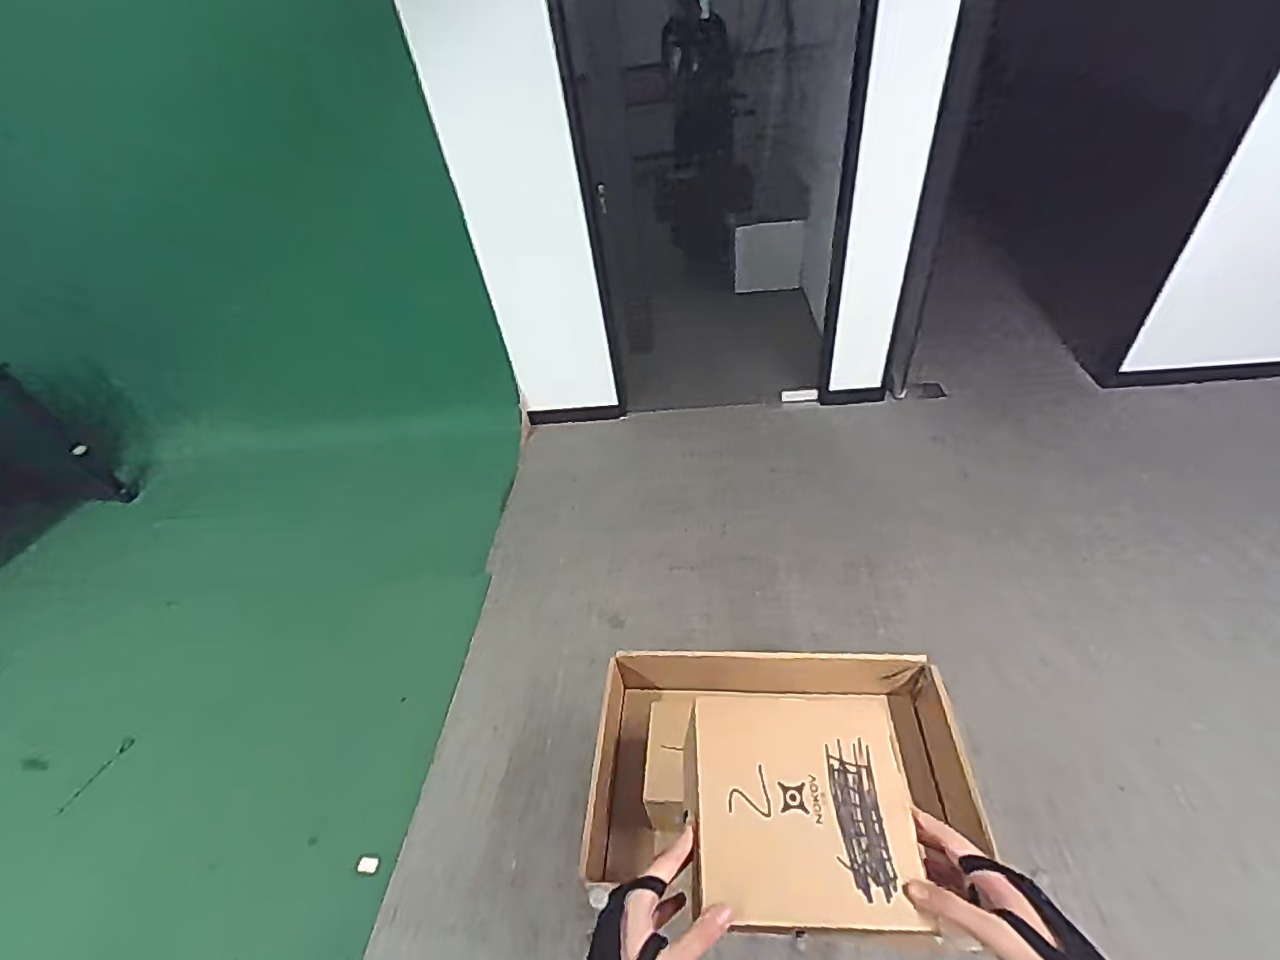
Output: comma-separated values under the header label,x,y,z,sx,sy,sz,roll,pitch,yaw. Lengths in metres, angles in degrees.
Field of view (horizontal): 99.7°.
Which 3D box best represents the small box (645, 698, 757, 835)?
label,x,y,z,sx,sy,sz,roll,pitch,yaw
small box,0.112,0.509,0.958,0.179,0.176,0.168,-1,42,10
